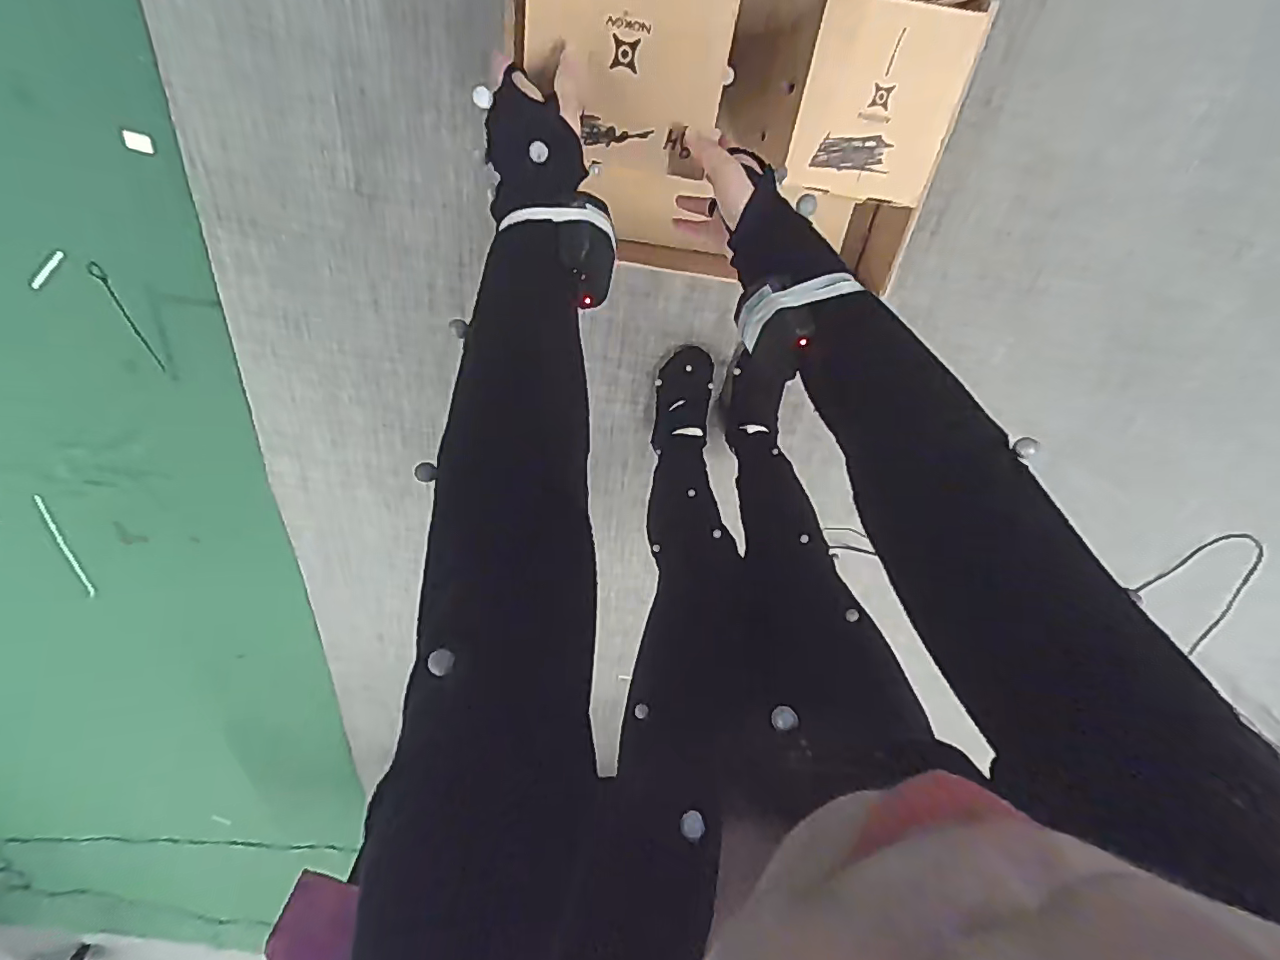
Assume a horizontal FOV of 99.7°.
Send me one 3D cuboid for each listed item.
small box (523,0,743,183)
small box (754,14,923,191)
[{"bbox_3d":[-0.005,-0.394,0.500,0.168,0.176,0.179,10,123,-3],"label":"small box"},{"bbox_3d":[0.268,-0.538,0.782,0.168,0.176,0.179,8,124,-2],"label":"small box"}]
